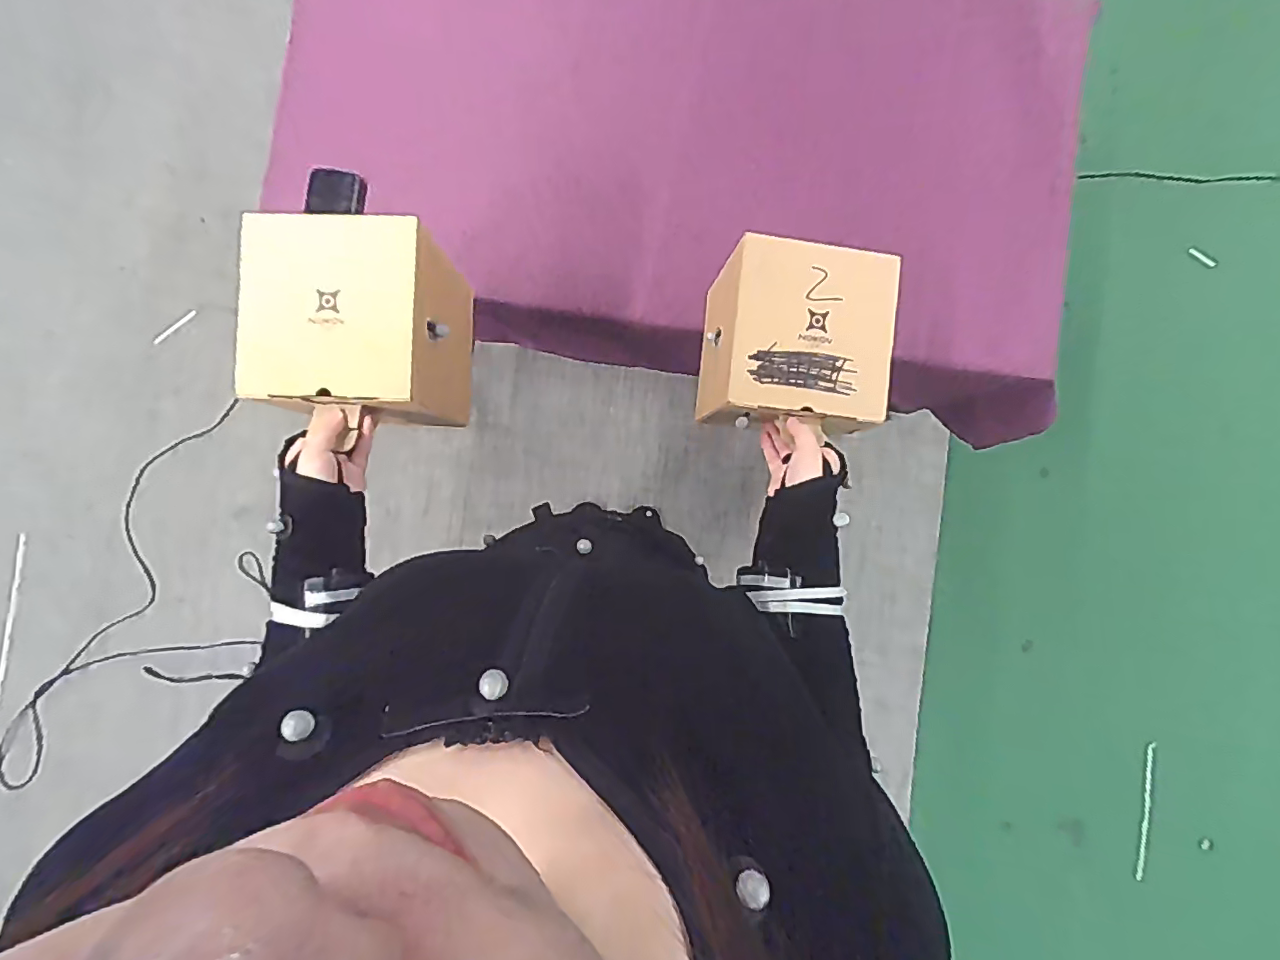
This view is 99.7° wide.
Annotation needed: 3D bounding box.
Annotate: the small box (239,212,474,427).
[{"bbox_3d":[-0.285,-0.157,0.581,0.168,0.176,0.179,2,89,0],"label":"small box"}]
